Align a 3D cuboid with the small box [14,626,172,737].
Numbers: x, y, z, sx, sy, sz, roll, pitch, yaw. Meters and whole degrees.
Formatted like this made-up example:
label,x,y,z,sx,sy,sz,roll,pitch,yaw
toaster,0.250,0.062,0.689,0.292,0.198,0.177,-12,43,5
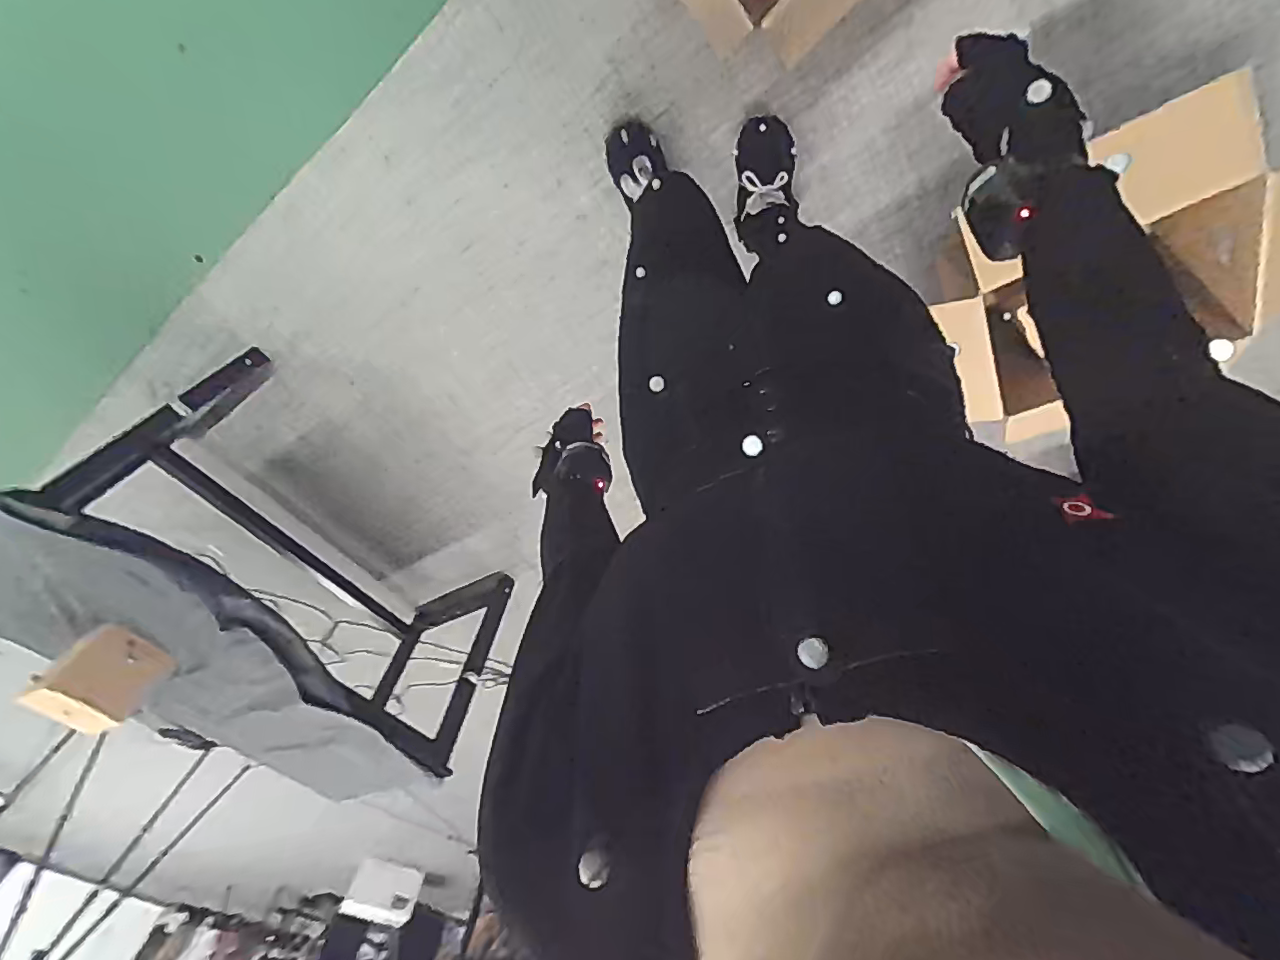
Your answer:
label,x,y,z,sx,sy,sz,roll,pitch,yaw
small box,-1.255,0.466,1.254,0.179,0.176,0.168,-21,123,23
